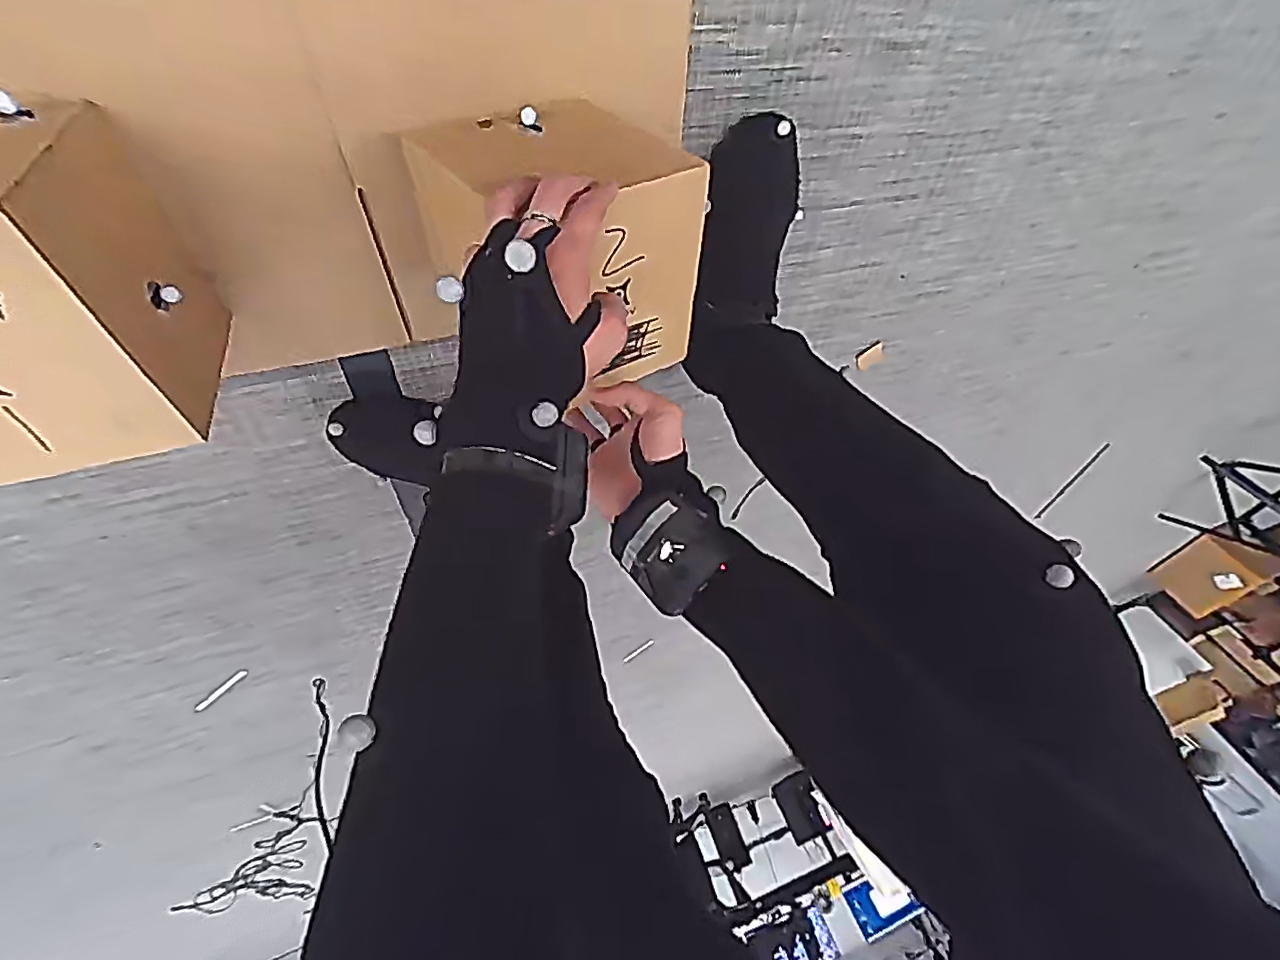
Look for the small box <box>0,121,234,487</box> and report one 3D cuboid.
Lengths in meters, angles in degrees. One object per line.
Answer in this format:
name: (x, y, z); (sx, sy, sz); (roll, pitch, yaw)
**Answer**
small box: (-0.419, -0.123, 0.370); (0.168, 0.176, 0.179); (-14, 142, -13)
